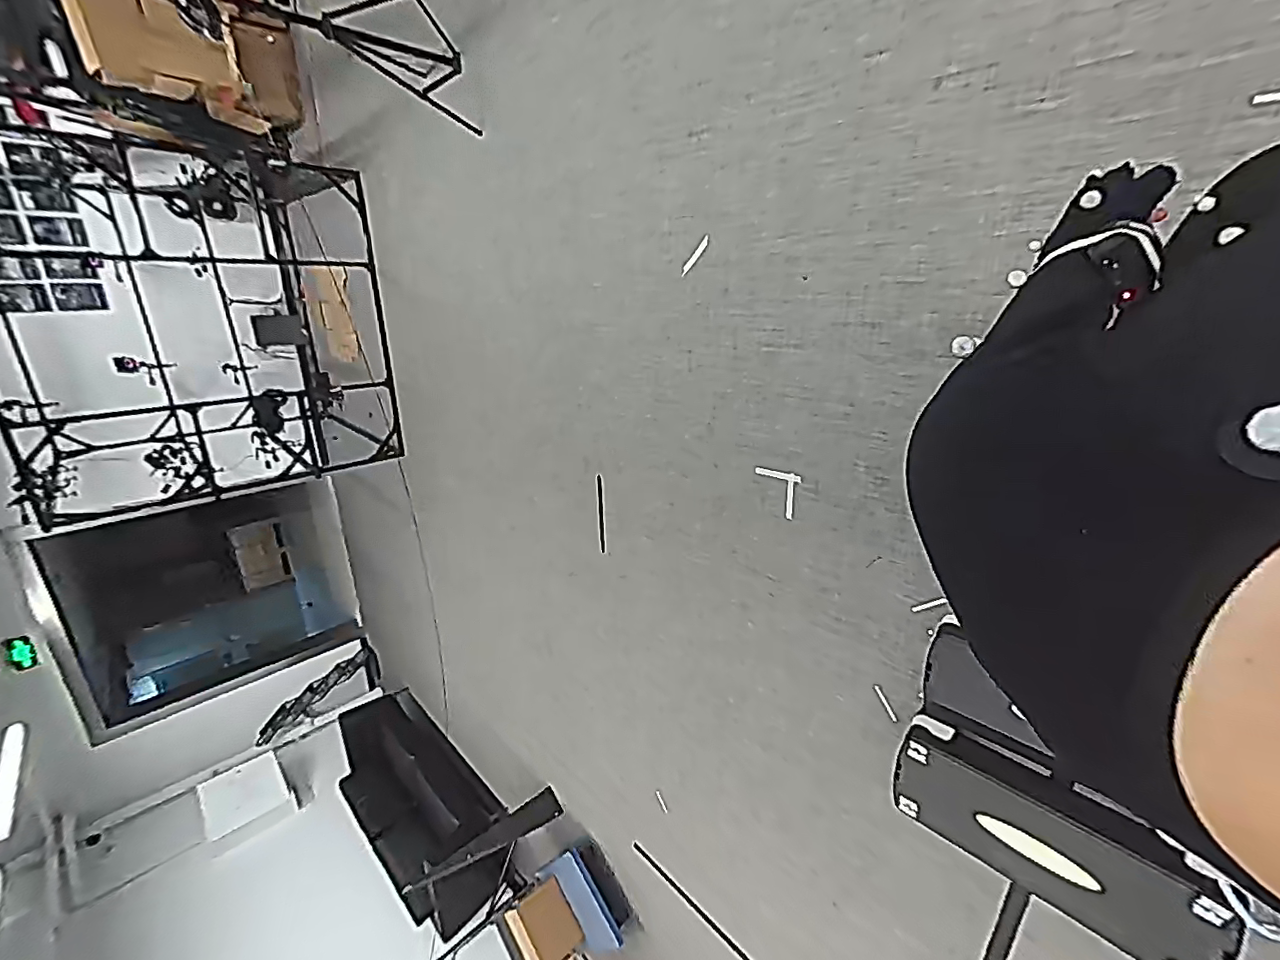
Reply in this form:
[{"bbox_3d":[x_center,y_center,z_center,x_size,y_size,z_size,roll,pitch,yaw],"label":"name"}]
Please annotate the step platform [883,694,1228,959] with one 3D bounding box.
[{"bbox_3d":[0.991,0.852,1.380,0.684,0.204,0.286,18,117,44],"label":"step platform"}]
